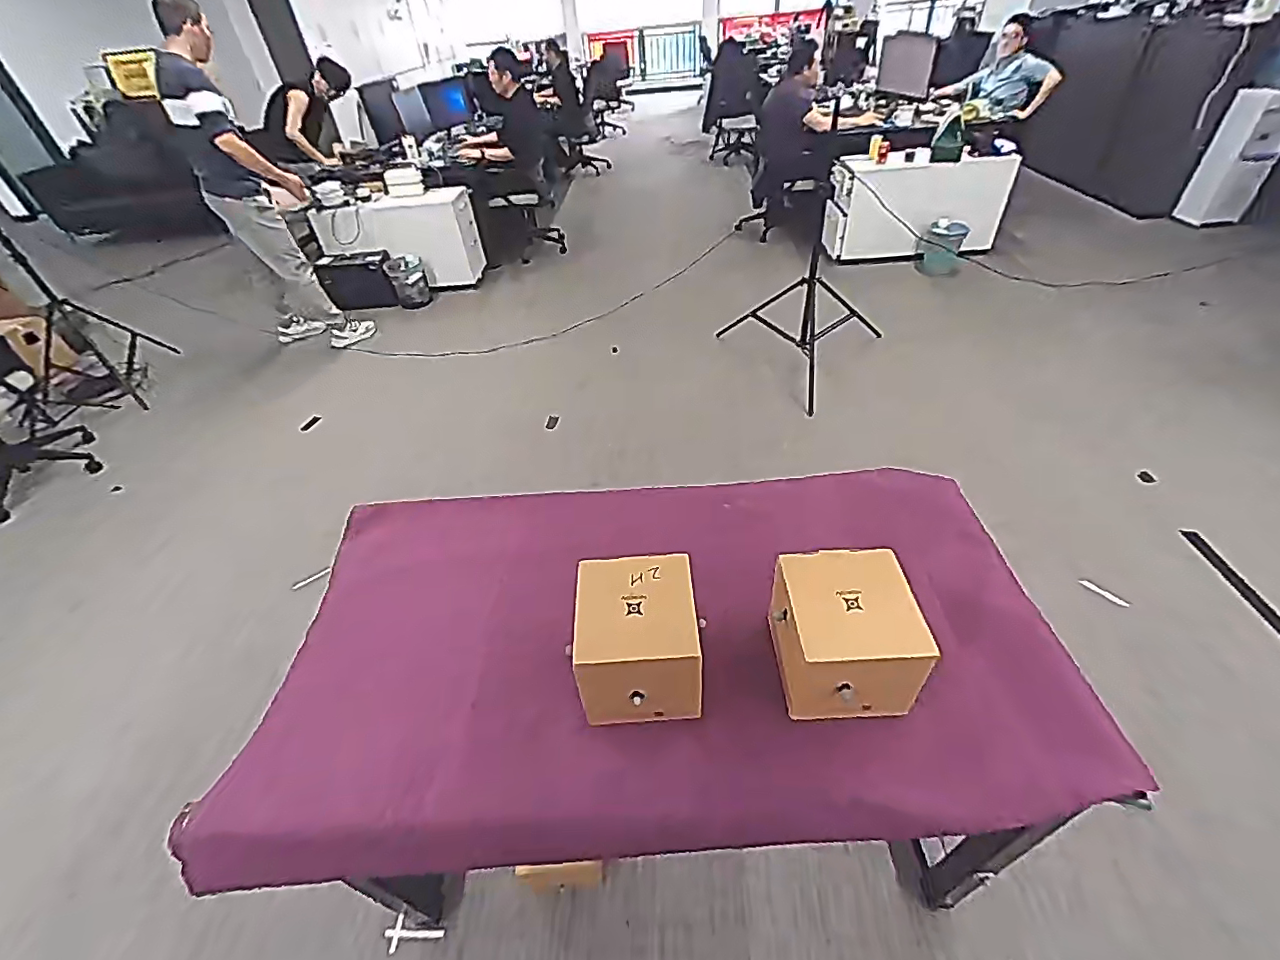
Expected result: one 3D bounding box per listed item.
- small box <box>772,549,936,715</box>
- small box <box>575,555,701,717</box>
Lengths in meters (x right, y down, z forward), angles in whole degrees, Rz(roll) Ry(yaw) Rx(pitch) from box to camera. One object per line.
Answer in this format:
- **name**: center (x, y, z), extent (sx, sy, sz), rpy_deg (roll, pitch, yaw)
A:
- **small box**: center (0.292, 0.224, 0.782), extent (0.168, 0.176, 0.179), rpy_deg (-4, 41, 2)
- **small box**: center (0.001, 0.235, 0.800), extent (0.168, 0.176, 0.179), rpy_deg (-4, 40, 1)
